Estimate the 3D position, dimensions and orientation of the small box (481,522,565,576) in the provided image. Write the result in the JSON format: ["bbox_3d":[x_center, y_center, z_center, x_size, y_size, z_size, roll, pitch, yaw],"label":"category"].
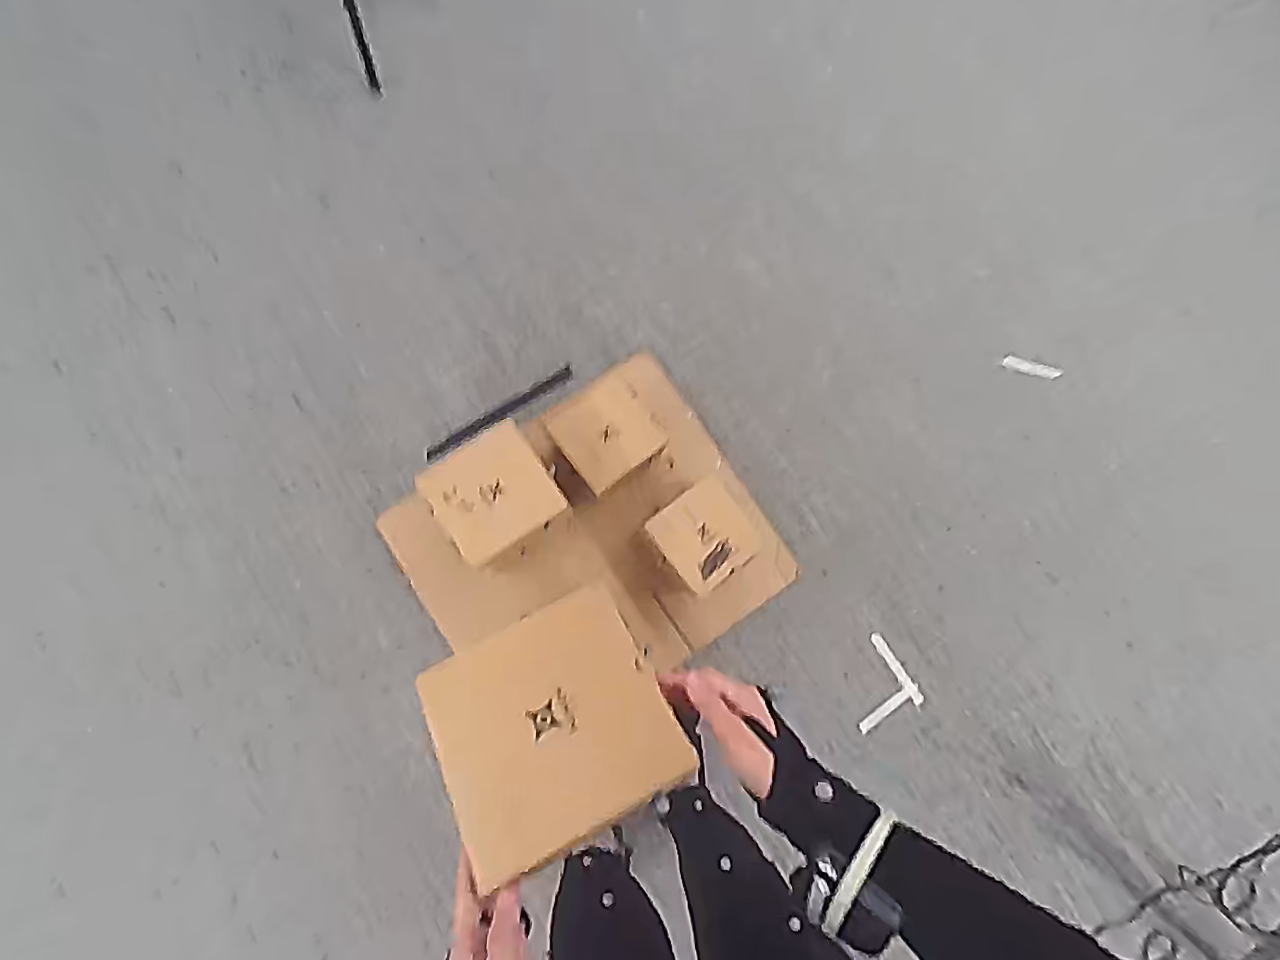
[{"bbox_3d":[-0.260,0.070,1.059,0.179,0.176,0.168,-38,87,-8],"label":"small box"}]

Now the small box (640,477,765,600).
[{"bbox_3d":[0.116,0.116,1.083,0.168,0.176,0.179,-37,86,-8],"label":"small box"}]

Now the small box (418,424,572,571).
[{"bbox_3d":[-0.228,0.034,0.900,0.179,0.176,0.168,-34,85,-8],"label":"small box"}]

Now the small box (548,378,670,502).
[{"bbox_3d":[-0.065,-0.072,1.098,0.179,0.176,0.168,-38,86,-8],"label":"small box"}]
